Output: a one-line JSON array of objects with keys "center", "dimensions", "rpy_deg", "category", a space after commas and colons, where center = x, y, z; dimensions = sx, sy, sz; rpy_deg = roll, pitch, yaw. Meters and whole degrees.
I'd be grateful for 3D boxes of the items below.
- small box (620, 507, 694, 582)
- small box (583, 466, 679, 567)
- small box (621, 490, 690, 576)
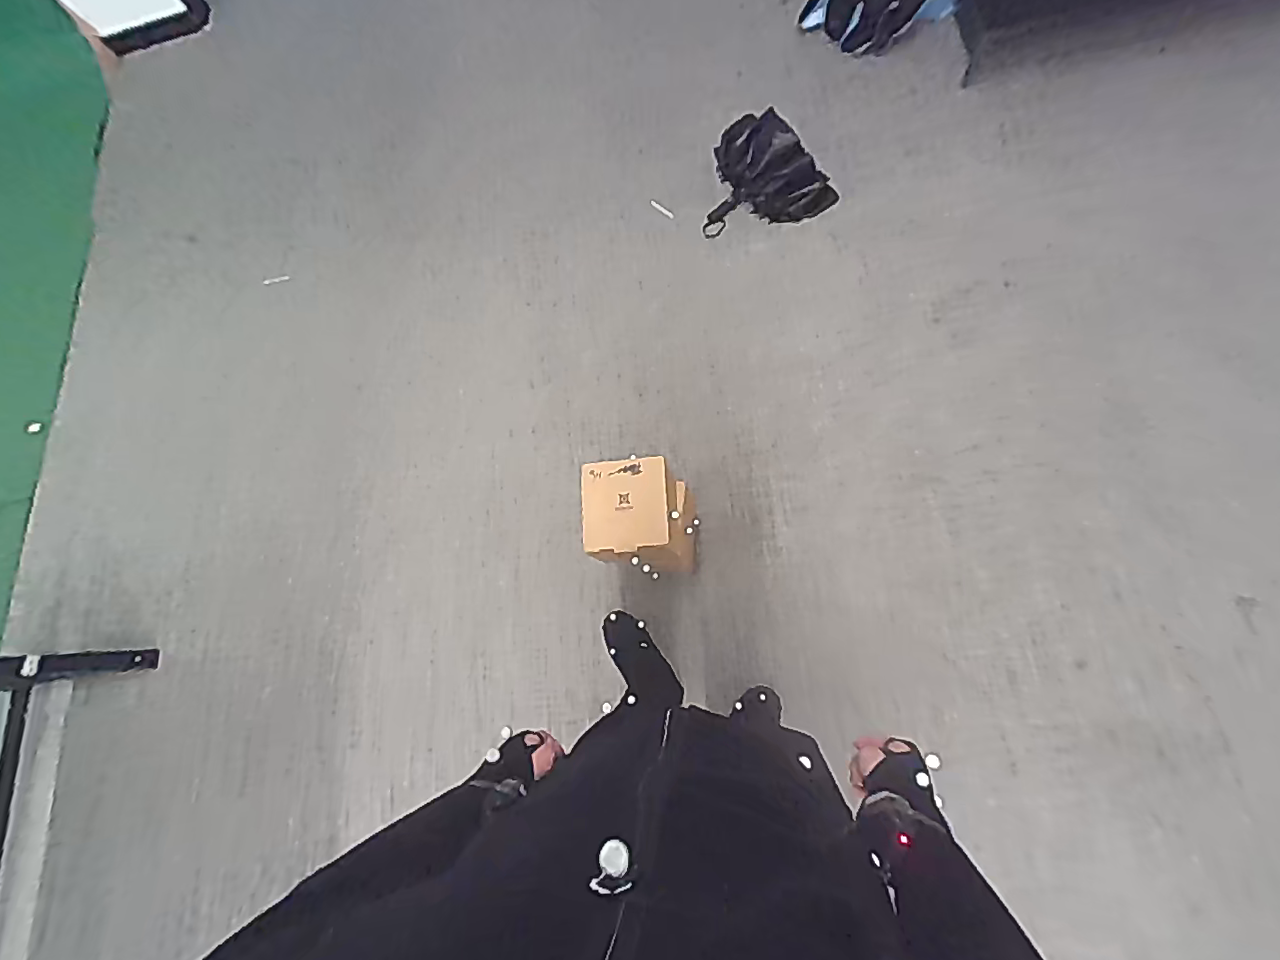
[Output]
[{"center": [0.050, 0.165, 1.413], "dimensions": [0.168, 0.176, 0.179], "rpy_deg": [3, 76, 12], "category": "small box"}, {"center": [-0.014, 0.083, 1.103], "dimensions": [0.168, 0.176, 0.179], "rpy_deg": [-5, 74, 10], "category": "small box"}, {"center": [0.024, 0.122, 1.257], "dimensions": [0.168, 0.176, 0.179], "rpy_deg": [4, 76, 12], "category": "small box"}]
